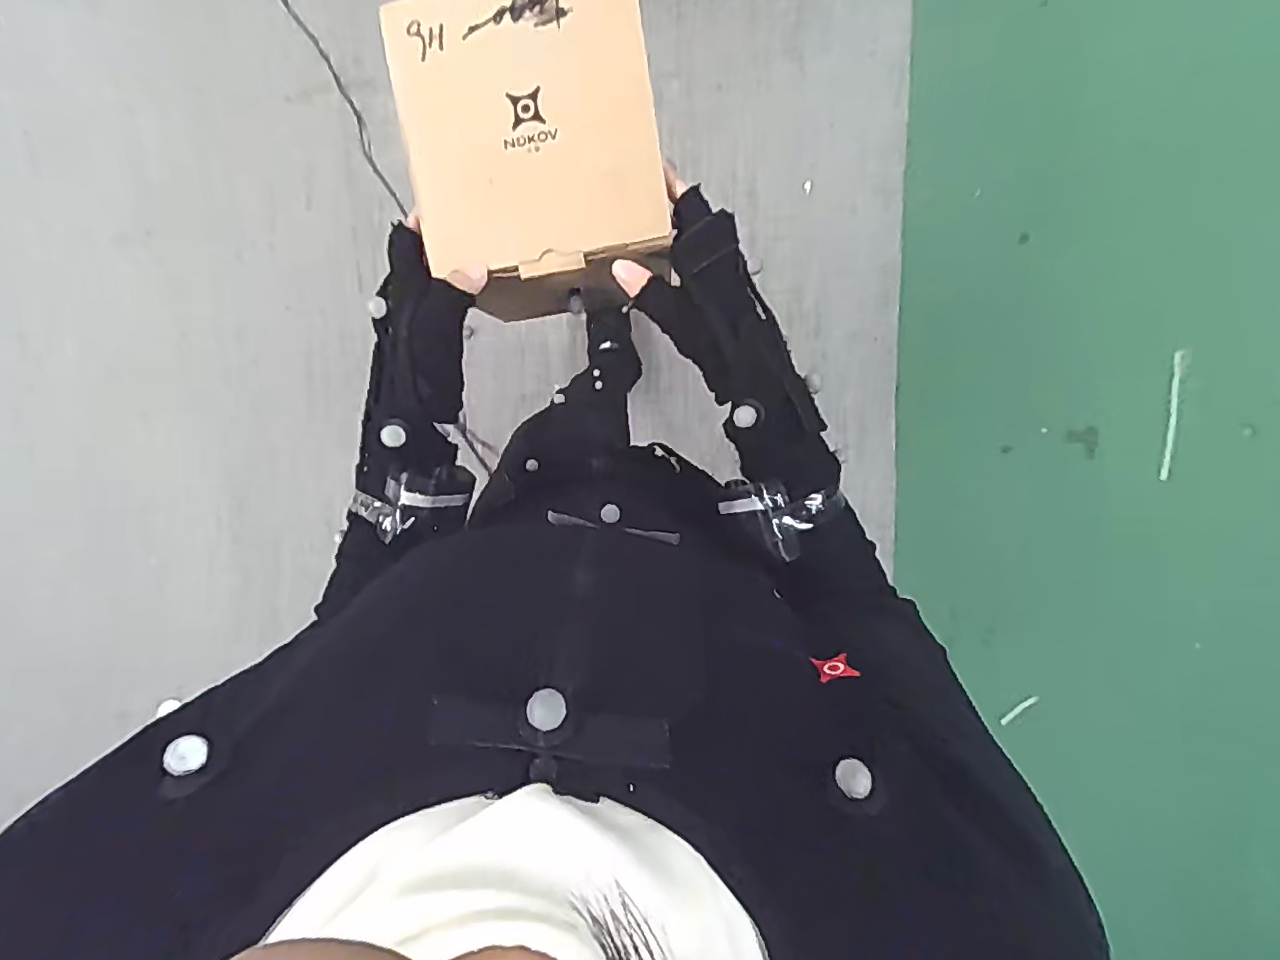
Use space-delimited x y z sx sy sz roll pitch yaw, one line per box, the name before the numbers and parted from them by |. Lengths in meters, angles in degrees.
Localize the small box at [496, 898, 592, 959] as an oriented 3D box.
small box | -0.204 1.056 1.179 0.179 0.176 0.168 -3 97 2
